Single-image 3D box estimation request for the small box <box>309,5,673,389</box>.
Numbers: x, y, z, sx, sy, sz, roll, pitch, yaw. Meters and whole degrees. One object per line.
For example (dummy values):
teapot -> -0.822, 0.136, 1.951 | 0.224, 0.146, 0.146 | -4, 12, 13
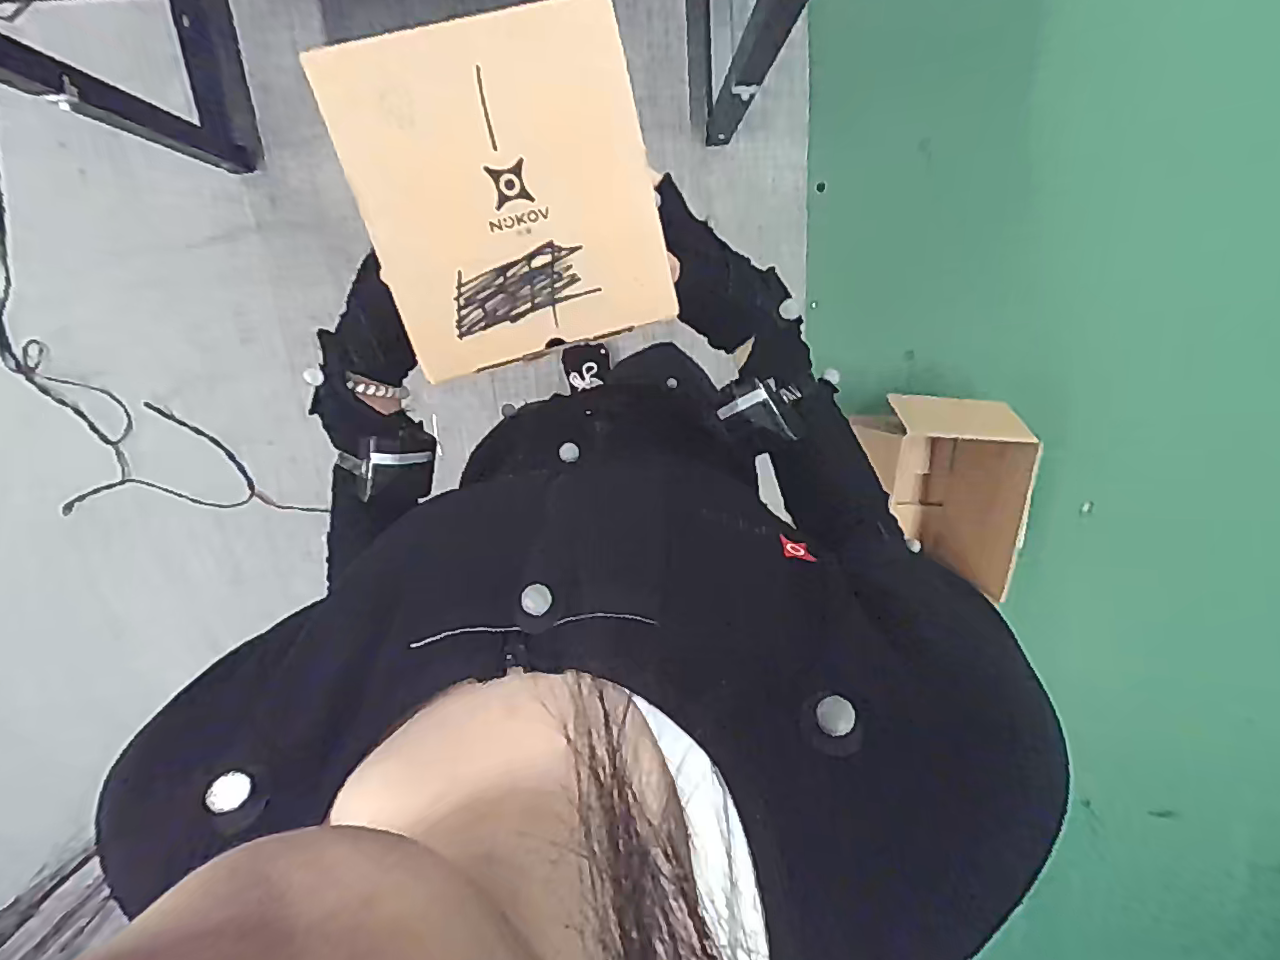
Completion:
small box -> -0.088, -0.182, 0.387 | 0.168, 0.176, 0.179 | -17, 111, -6
